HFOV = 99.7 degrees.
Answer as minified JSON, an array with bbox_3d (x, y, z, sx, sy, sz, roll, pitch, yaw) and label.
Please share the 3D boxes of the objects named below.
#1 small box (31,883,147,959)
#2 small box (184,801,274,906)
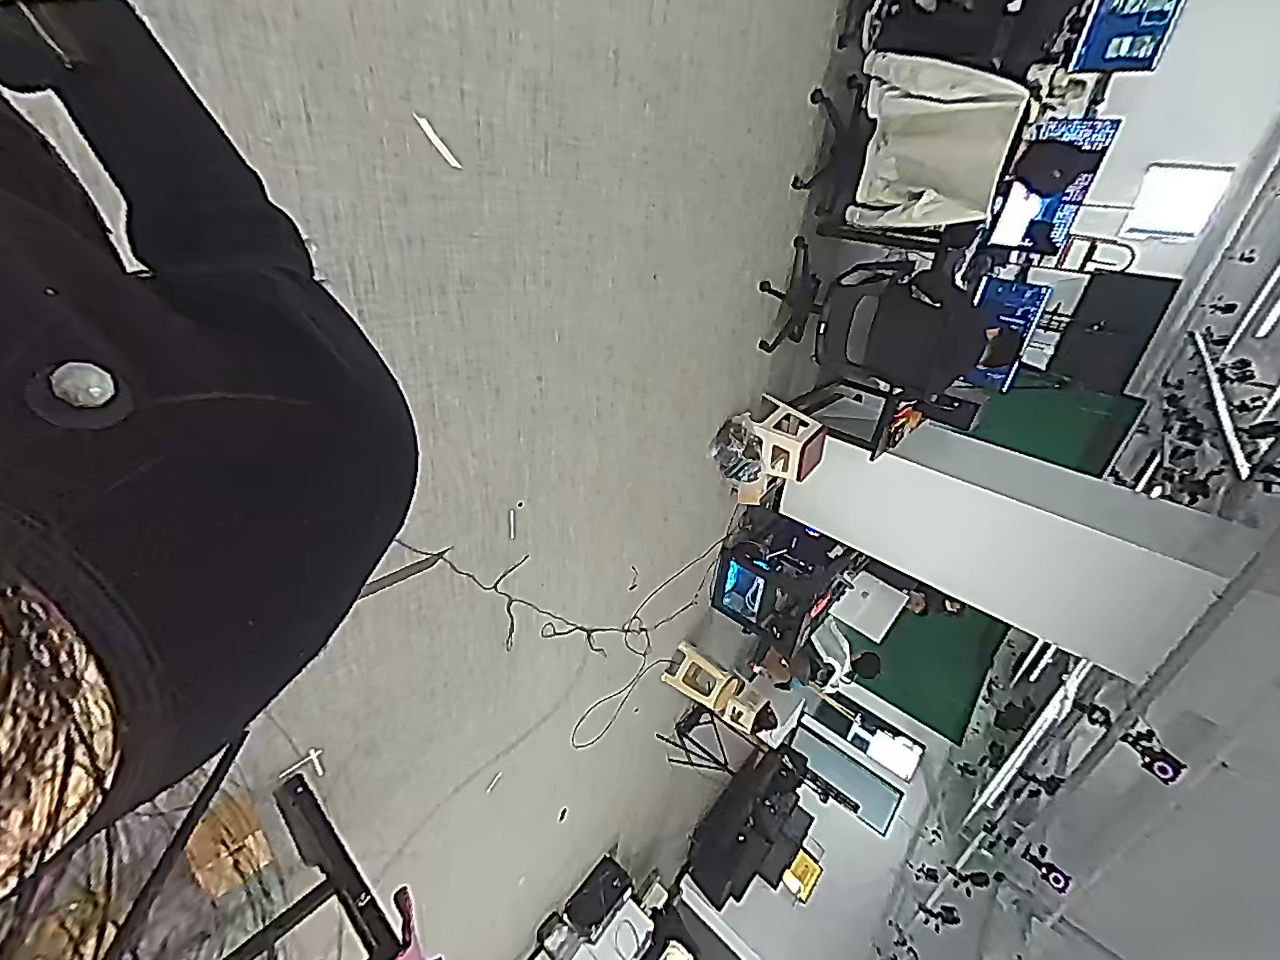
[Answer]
[{"bbox_3d":[-1.475,1.242,1.451,0.168,0.176,0.179,-27,132,-43],"label":"small box"},{"bbox_3d":[-1.270,1.148,1.673,0.168,0.176,0.179,-25,133,-44],"label":"small box"}]
